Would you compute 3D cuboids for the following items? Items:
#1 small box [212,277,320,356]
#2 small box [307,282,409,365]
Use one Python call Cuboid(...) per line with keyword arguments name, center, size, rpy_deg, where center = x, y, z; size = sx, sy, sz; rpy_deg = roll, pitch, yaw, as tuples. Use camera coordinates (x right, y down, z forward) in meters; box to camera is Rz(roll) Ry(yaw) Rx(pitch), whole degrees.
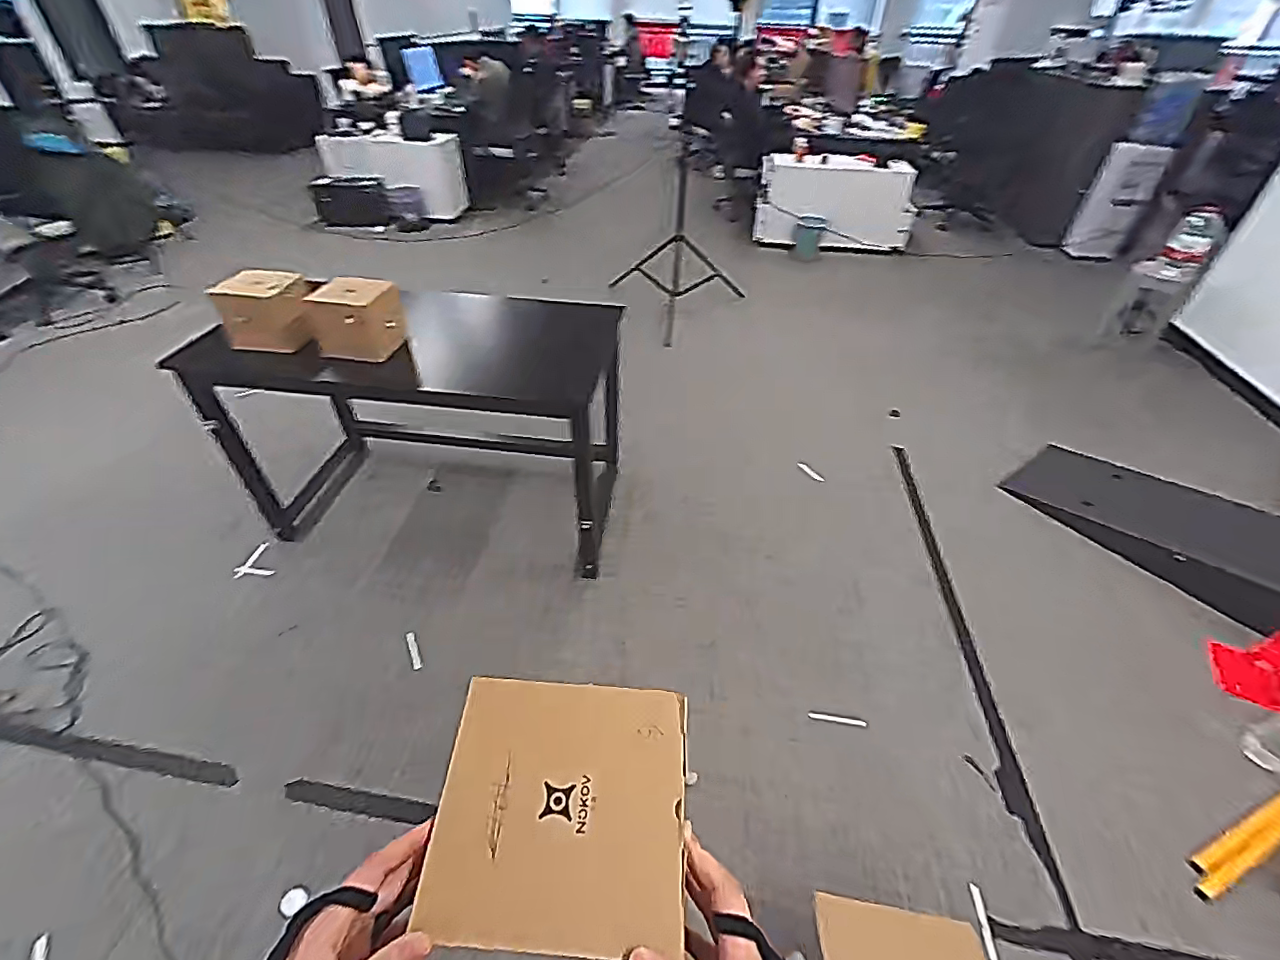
Cuboid(name="small box", center=(-1.055, -0.468, 1.551), size=(0.179, 0.176, 0.168), rpy_deg=(4, 42, 4))
Cuboid(name="small box", center=(-0.784, -0.440, 1.527), size=(0.179, 0.176, 0.168), rpy_deg=(7, 41, 6))
